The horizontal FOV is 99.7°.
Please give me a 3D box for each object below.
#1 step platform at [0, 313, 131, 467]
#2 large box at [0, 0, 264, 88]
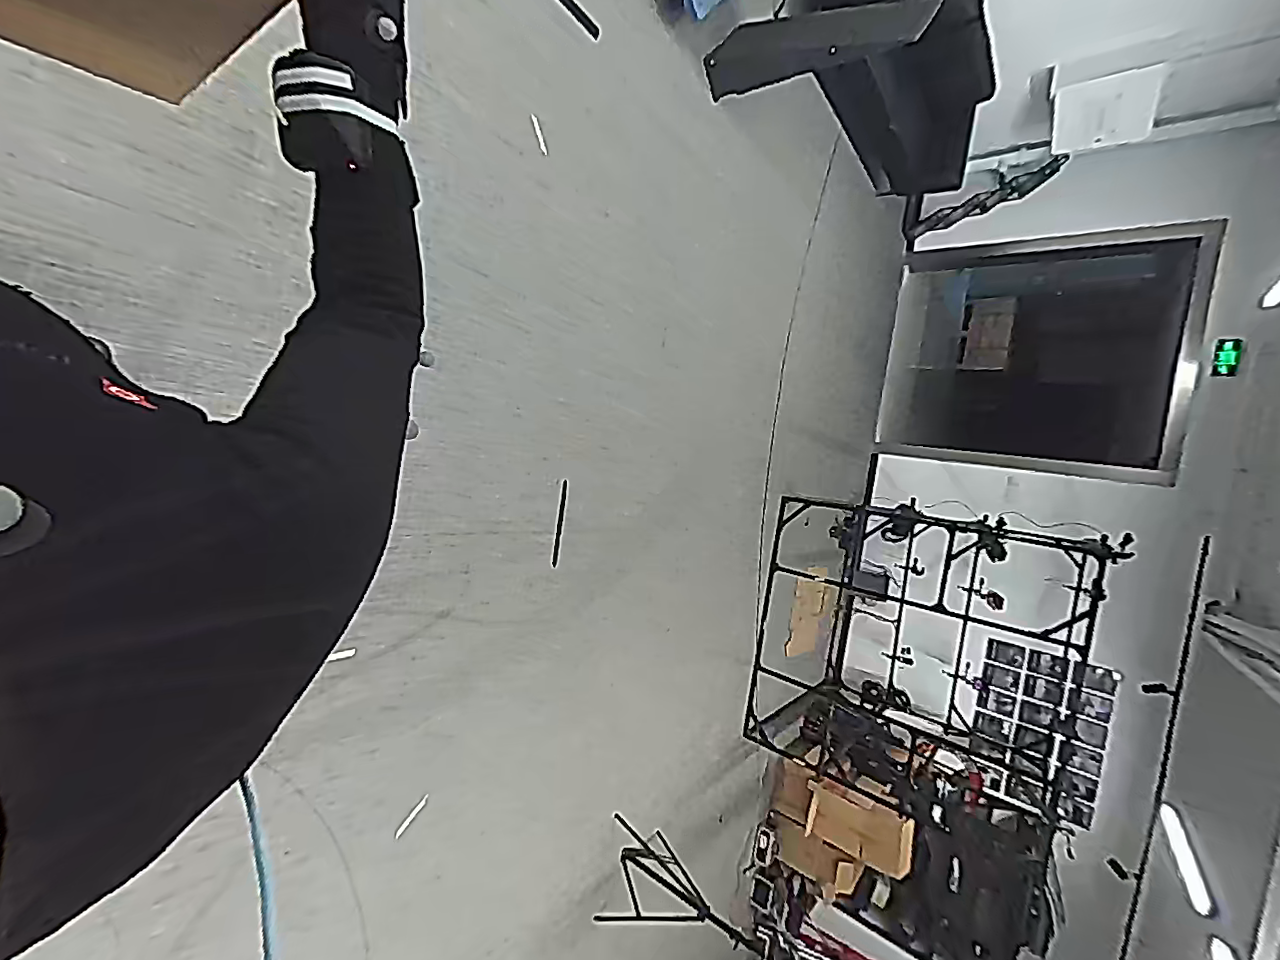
[{"bbox_3d":[-1.327,-0.182,0.911,0.684,0.204,0.286,2,96,-54],"label":"step platform"},{"bbox_3d":[-0.453,-0.490,0.267,0.408,0.320,0.320,-5,106,-52],"label":"large box"}]
